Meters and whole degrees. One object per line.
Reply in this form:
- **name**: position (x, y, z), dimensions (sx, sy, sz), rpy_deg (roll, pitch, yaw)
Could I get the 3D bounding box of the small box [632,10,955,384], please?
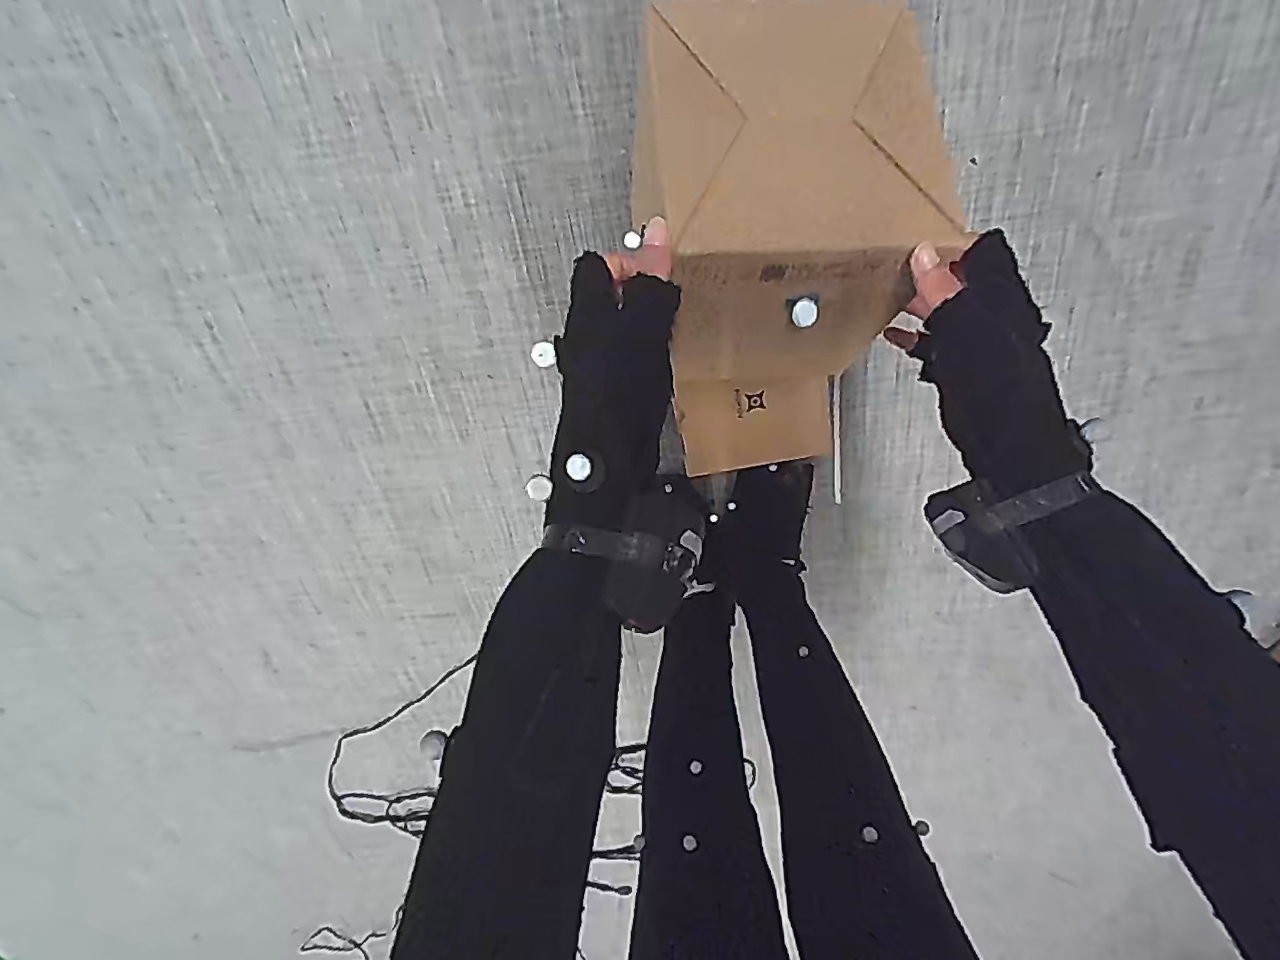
- **small box**: position (0.087, -0.185, 0.384), dimensions (0.168, 0.176, 0.179), rpy_deg (-4, 77, -4)
